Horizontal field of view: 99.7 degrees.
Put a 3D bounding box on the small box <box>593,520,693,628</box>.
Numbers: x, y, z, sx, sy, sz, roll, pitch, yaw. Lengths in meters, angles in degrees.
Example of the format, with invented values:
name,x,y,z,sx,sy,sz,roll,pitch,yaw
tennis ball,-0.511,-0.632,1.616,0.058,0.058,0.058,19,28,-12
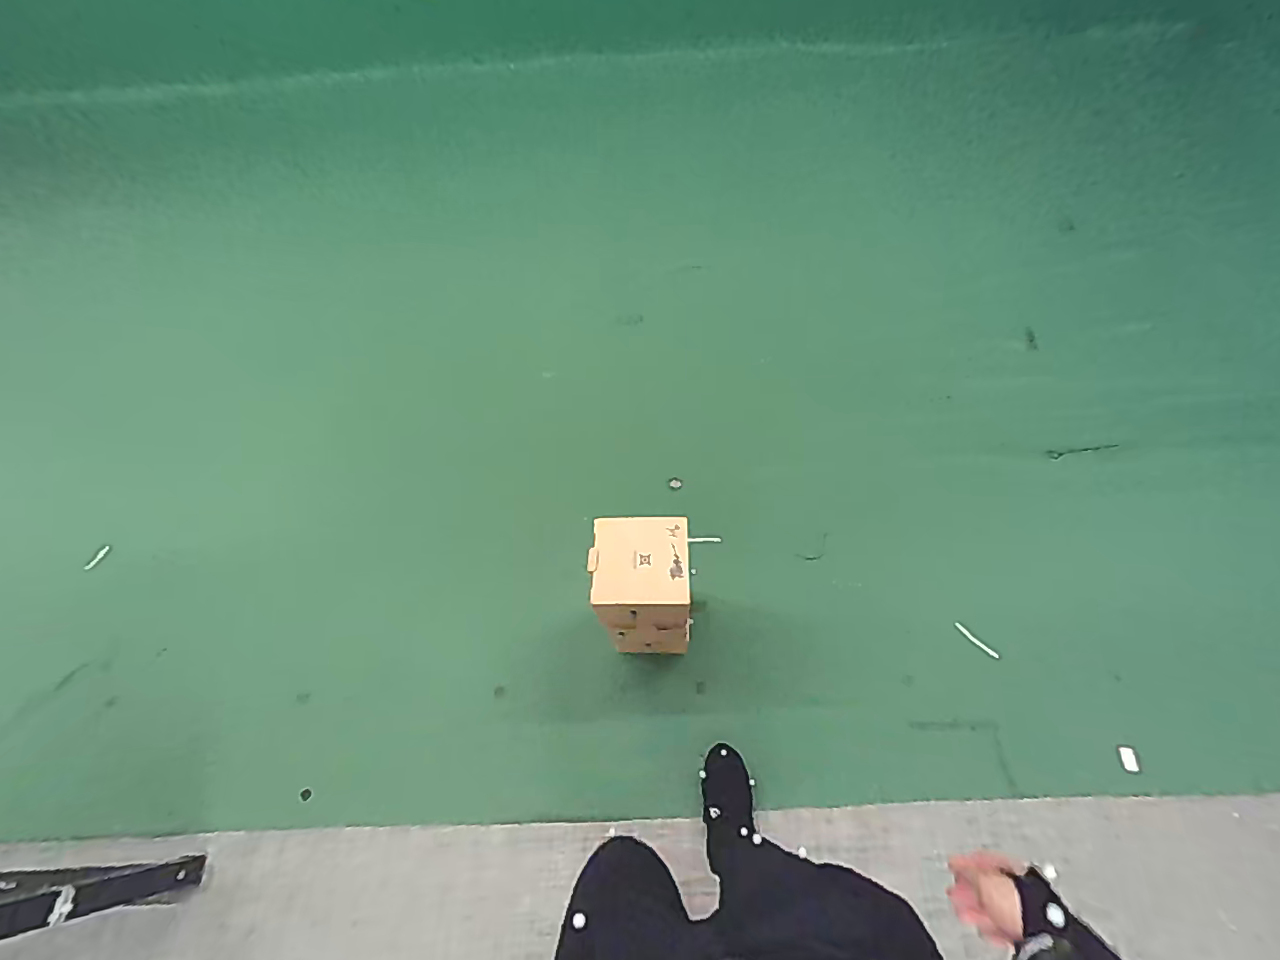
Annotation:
name,x,y,z,sx,sy,sz,roll,pitch,yaw
small box,0.012,0.184,1.034,0.179,0.176,0.168,-1,63,3

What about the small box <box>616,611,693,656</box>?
name,x,y,z,sx,sy,sz,roll,pitch,yaw
small box,0.039,0.332,1.326,0.179,0.176,0.168,0,64,4
